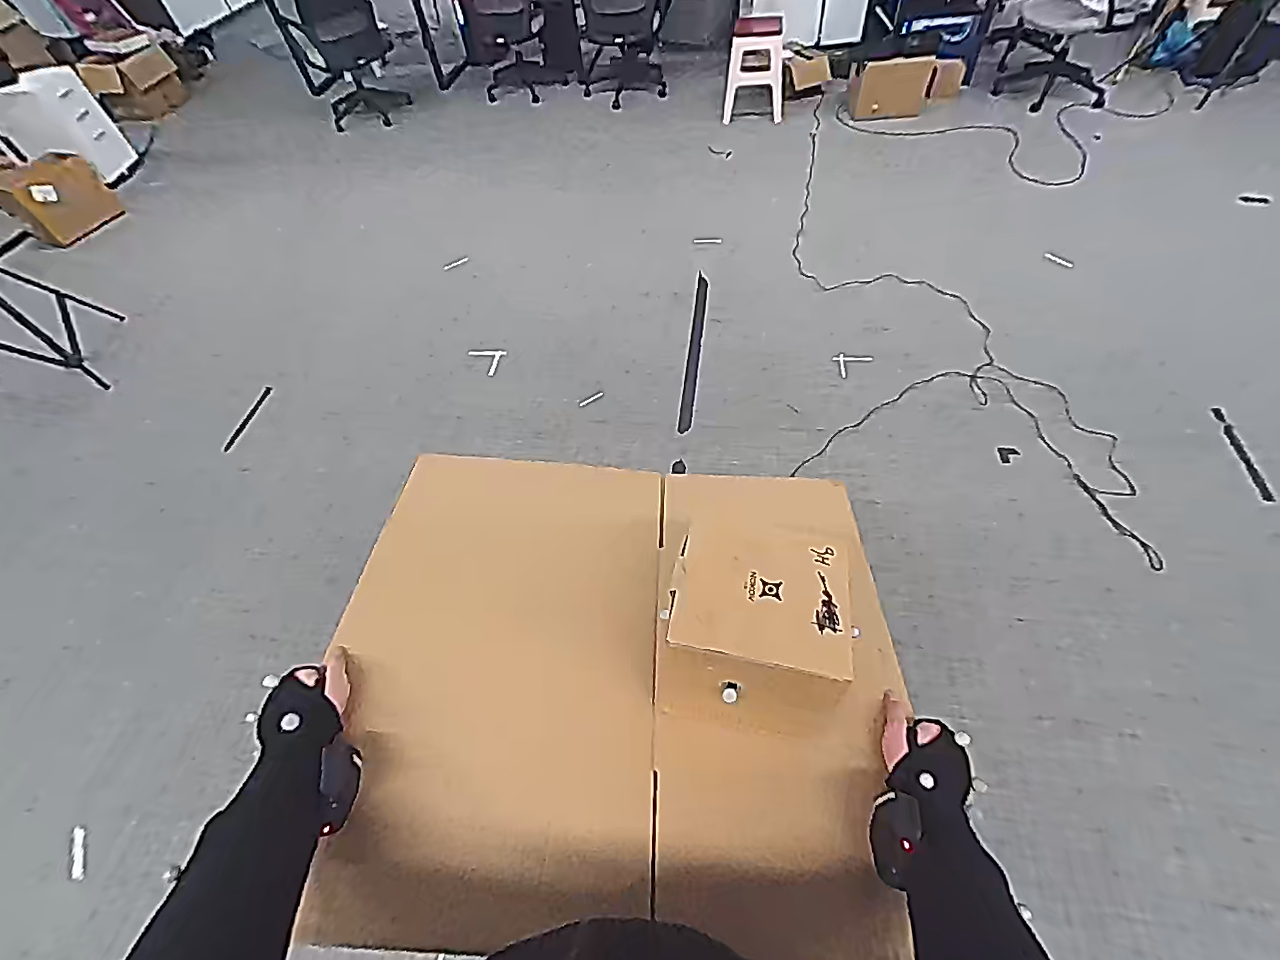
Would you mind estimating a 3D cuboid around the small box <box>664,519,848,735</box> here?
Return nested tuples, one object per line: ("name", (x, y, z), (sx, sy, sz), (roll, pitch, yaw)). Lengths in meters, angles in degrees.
("small box", (0.126, 0.170, 0.620), (0.179, 0.176, 0.168), (8, 47, 9))
